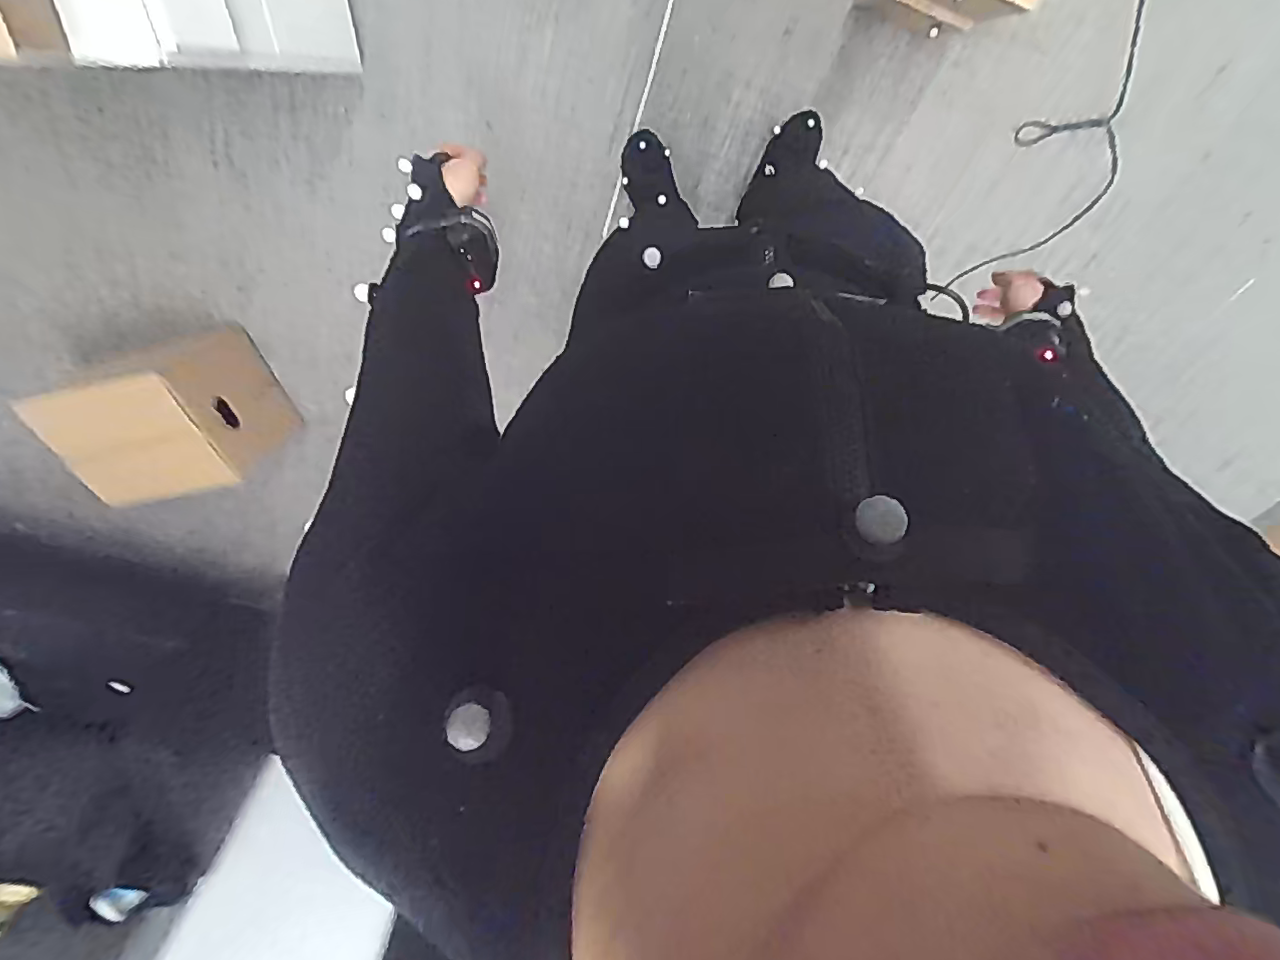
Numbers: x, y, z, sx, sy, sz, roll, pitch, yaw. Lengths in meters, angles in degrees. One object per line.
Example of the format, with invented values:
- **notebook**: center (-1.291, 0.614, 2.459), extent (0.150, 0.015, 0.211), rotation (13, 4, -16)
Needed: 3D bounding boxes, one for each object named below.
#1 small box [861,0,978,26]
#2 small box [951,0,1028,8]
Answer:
- **small box**: center (0.509, -0.915, 0.933), extent (0.179, 0.176, 0.168), rotation (14, 125, -8)
- **small box**: center (0.514, -0.828, 0.793), extent (0.179, 0.176, 0.168), rotation (14, 126, -10)
